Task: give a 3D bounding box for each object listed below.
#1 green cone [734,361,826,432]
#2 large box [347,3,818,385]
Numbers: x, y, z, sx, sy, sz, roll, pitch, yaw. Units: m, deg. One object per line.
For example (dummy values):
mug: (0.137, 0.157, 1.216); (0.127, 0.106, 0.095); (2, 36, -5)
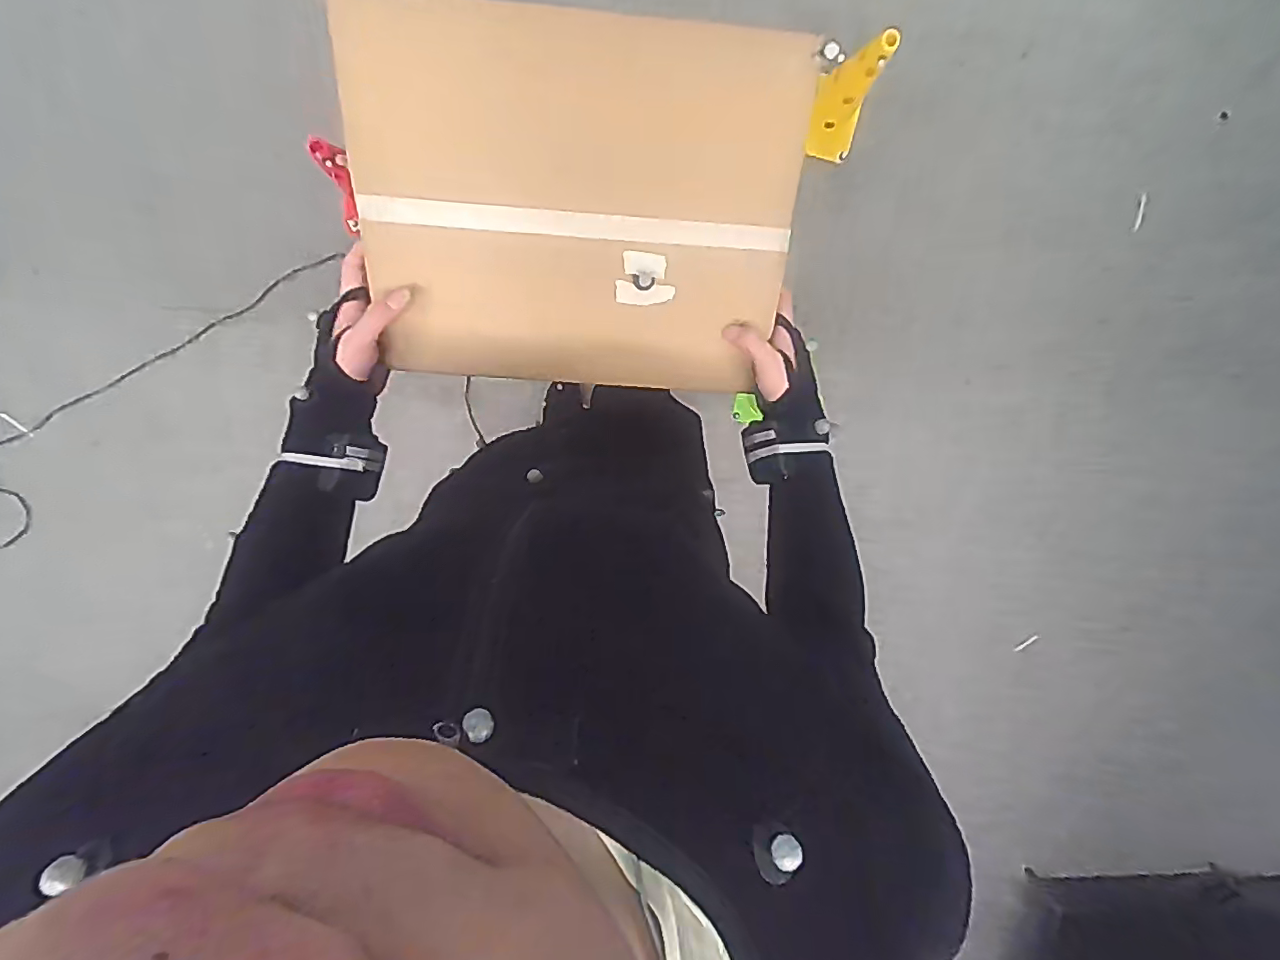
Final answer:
green cone: (0.408, -0.220, 1.458); (0.200, 0.368, 0.202); (8, 100, -7)
large box: (-0.059, -0.314, 0.651); (0.408, 0.320, 0.320); (2, 118, -4)
